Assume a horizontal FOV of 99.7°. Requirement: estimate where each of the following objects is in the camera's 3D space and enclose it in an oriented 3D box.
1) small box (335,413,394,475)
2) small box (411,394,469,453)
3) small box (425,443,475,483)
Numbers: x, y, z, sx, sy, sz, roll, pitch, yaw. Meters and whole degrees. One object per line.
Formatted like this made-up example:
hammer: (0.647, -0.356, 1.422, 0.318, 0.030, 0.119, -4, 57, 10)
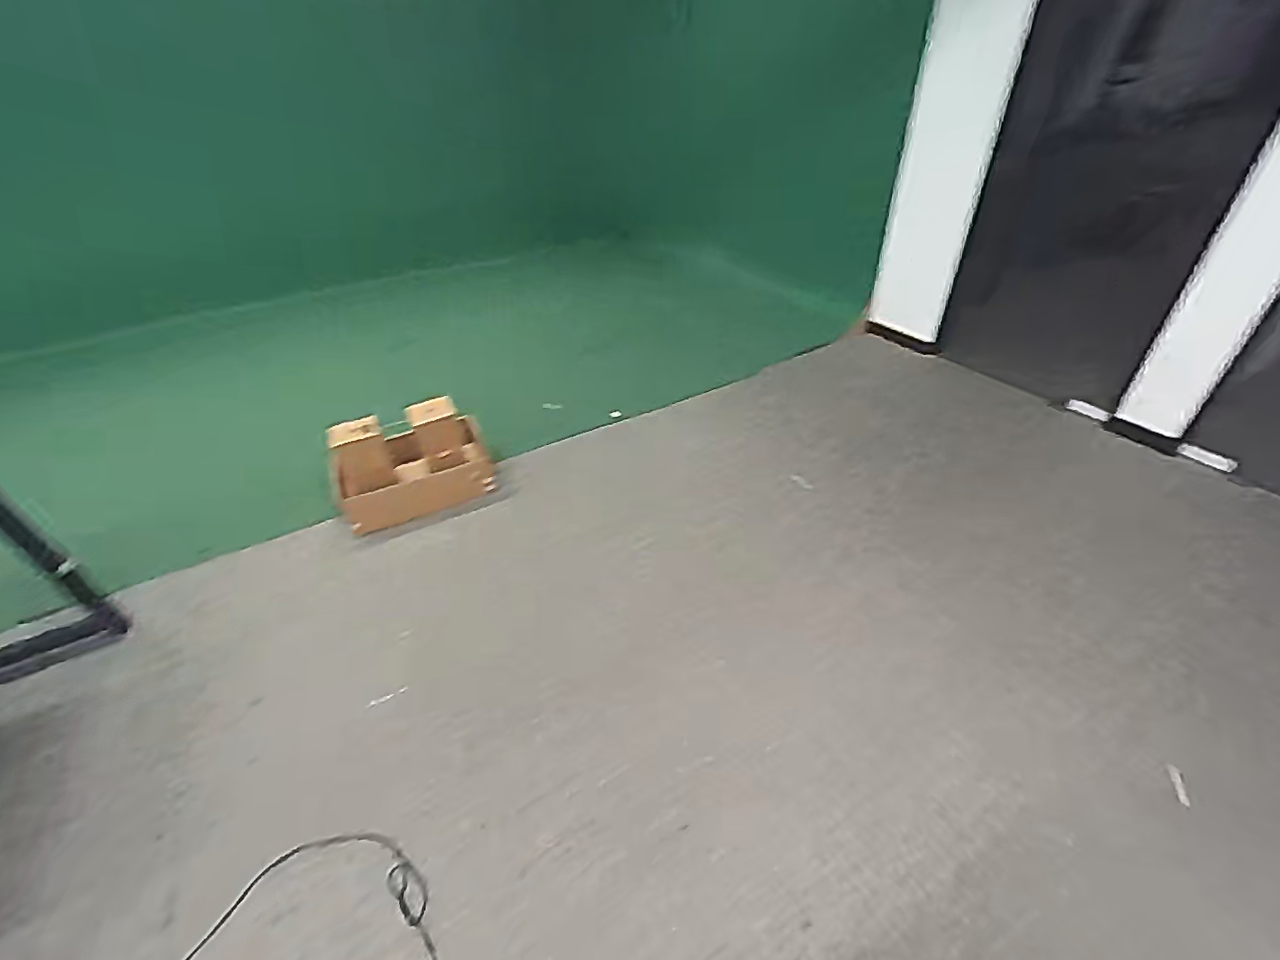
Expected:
small box: (-1.116, -0.146, 2.200, 0.179, 0.176, 0.168, -19, 41, -18)
small box: (-0.851, -0.238, 2.303, 0.179, 0.176, 0.168, -20, 44, -20)
small box: (-0.845, -0.105, 2.399, 0.168, 0.176, 0.179, -18, 42, -17)
